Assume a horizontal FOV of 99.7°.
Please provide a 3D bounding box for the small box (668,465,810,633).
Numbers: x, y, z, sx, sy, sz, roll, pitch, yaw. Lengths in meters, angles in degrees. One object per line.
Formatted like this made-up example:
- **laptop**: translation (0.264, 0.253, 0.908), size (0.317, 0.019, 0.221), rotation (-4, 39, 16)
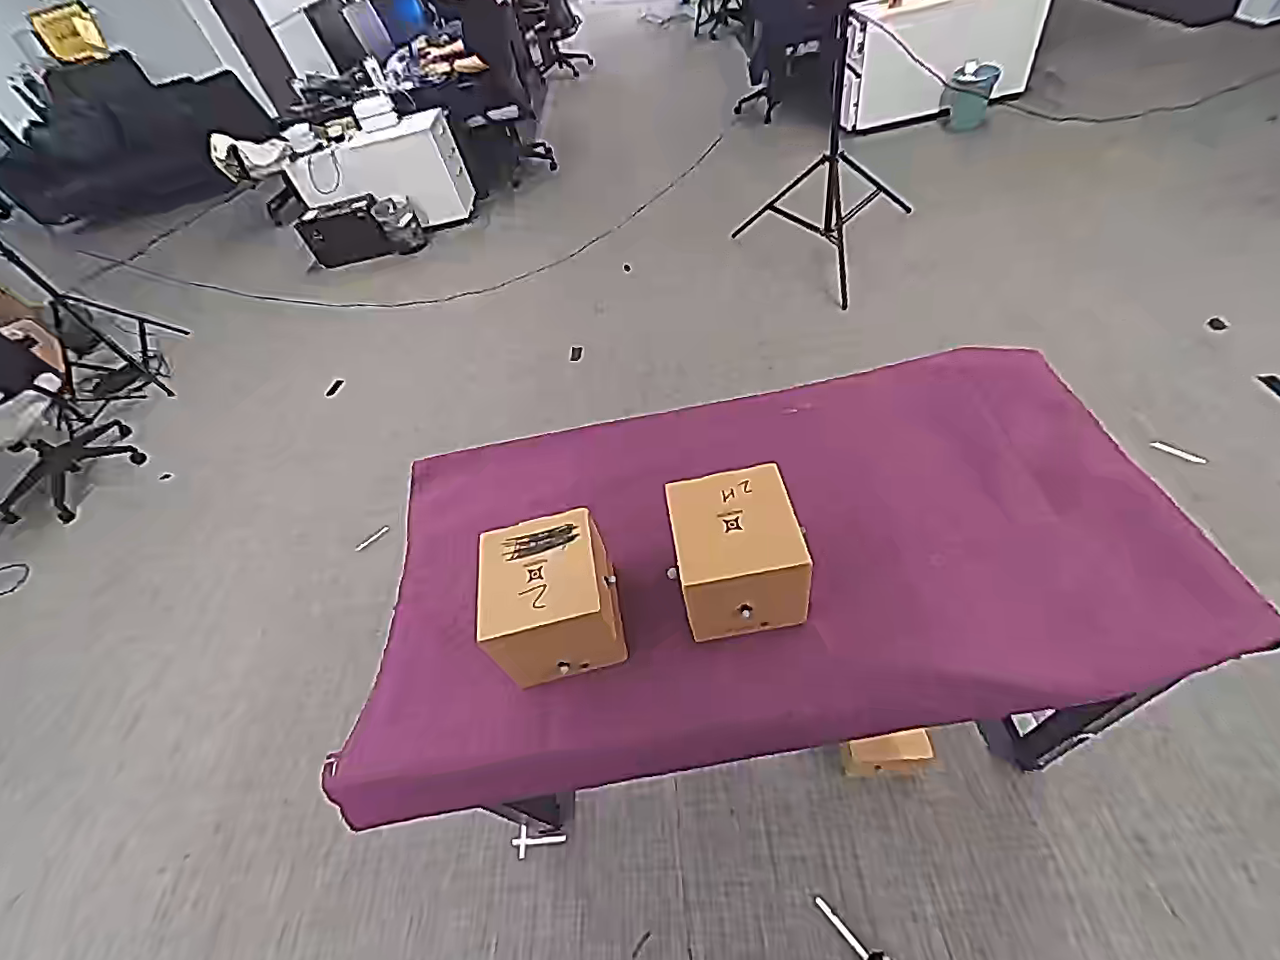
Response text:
- **small box**: translation (0.141, 0.109, 0.792), size (0.168, 0.176, 0.179), rotation (-10, 48, 4)

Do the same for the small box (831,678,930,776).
- **small box**: translation (0.553, 0.583, 1.264), size (0.168, 0.176, 0.179), rotation (-7, 49, 9)
